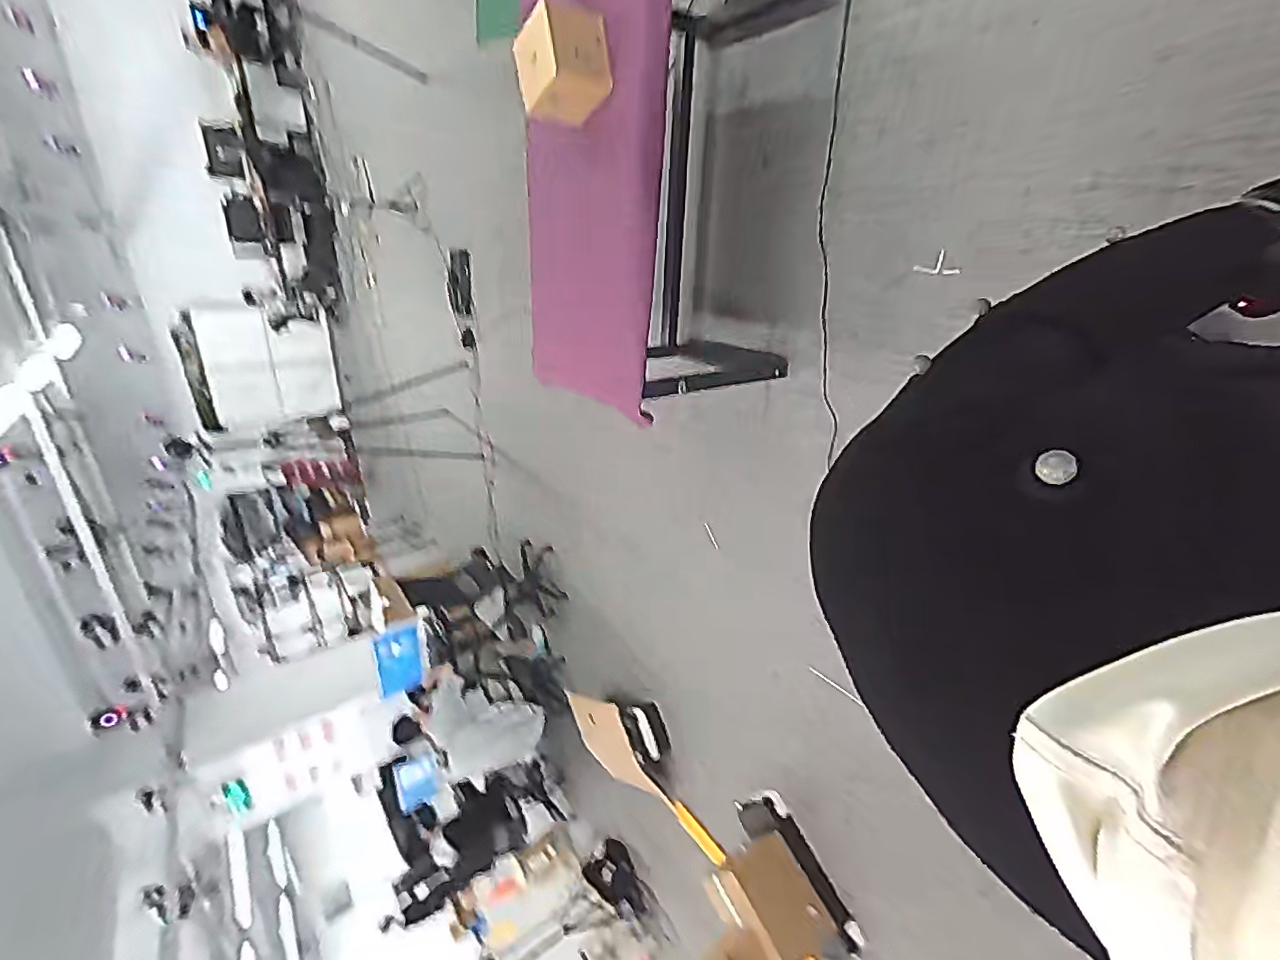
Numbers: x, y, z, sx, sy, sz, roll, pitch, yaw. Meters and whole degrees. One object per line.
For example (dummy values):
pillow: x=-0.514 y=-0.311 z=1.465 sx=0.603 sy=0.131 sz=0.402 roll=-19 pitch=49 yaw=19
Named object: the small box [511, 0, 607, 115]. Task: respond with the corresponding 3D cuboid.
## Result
small box: x=-0.194 y=-1.045 z=1.341 sx=0.179 sy=0.176 sz=0.168 roll=1 pitch=103 yaw=54
